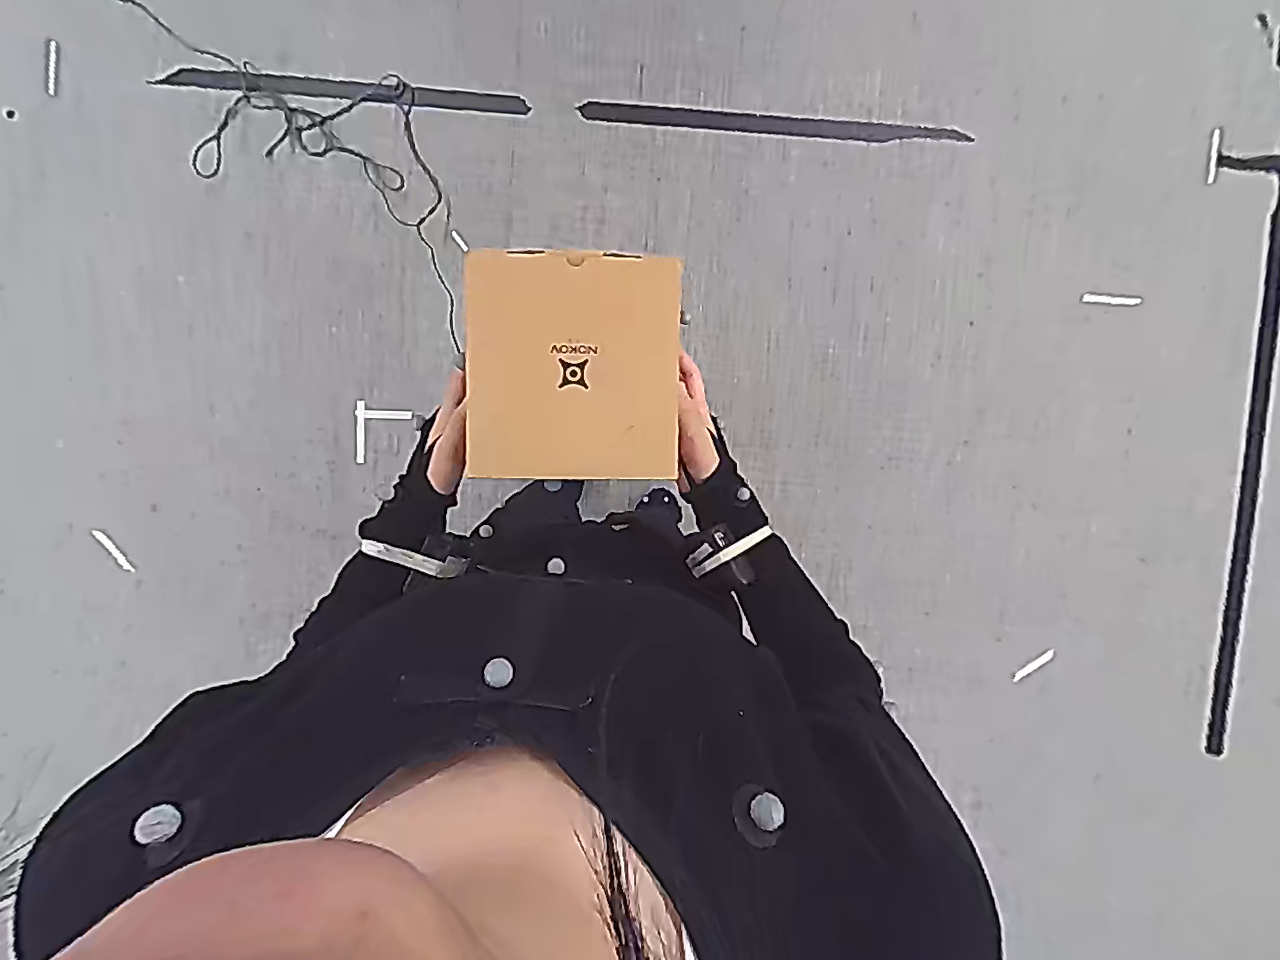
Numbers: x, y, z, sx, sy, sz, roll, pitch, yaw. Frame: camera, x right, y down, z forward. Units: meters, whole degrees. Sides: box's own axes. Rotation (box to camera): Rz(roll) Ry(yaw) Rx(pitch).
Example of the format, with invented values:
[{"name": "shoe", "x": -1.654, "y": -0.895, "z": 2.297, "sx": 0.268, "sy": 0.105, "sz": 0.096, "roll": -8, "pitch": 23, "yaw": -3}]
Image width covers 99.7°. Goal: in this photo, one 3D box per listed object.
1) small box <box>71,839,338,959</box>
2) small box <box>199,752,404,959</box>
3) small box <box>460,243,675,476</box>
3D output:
[{"name": "small box", "x": -0.420, "y": 0.490, "z": 0.522, "sx": 0.168, "sy": 0.176, "sz": 0.179, "roll": 8, "pitch": 95, "yaw": -1}, {"name": "small box", "x": -0.419, "y": 0.483, "z": 0.686, "sx": 0.168, "sy": 0.176, "sz": 0.179, "roll": 7, "pitch": 93, "yaw": -1}, {"name": "small box", "x": -0.060, "y": -0.095, "z": 0.494, "sx": 0.168, "sy": 0.176, "sz": 0.179, "roll": 0, "pitch": 92, "yaw": -4}]
